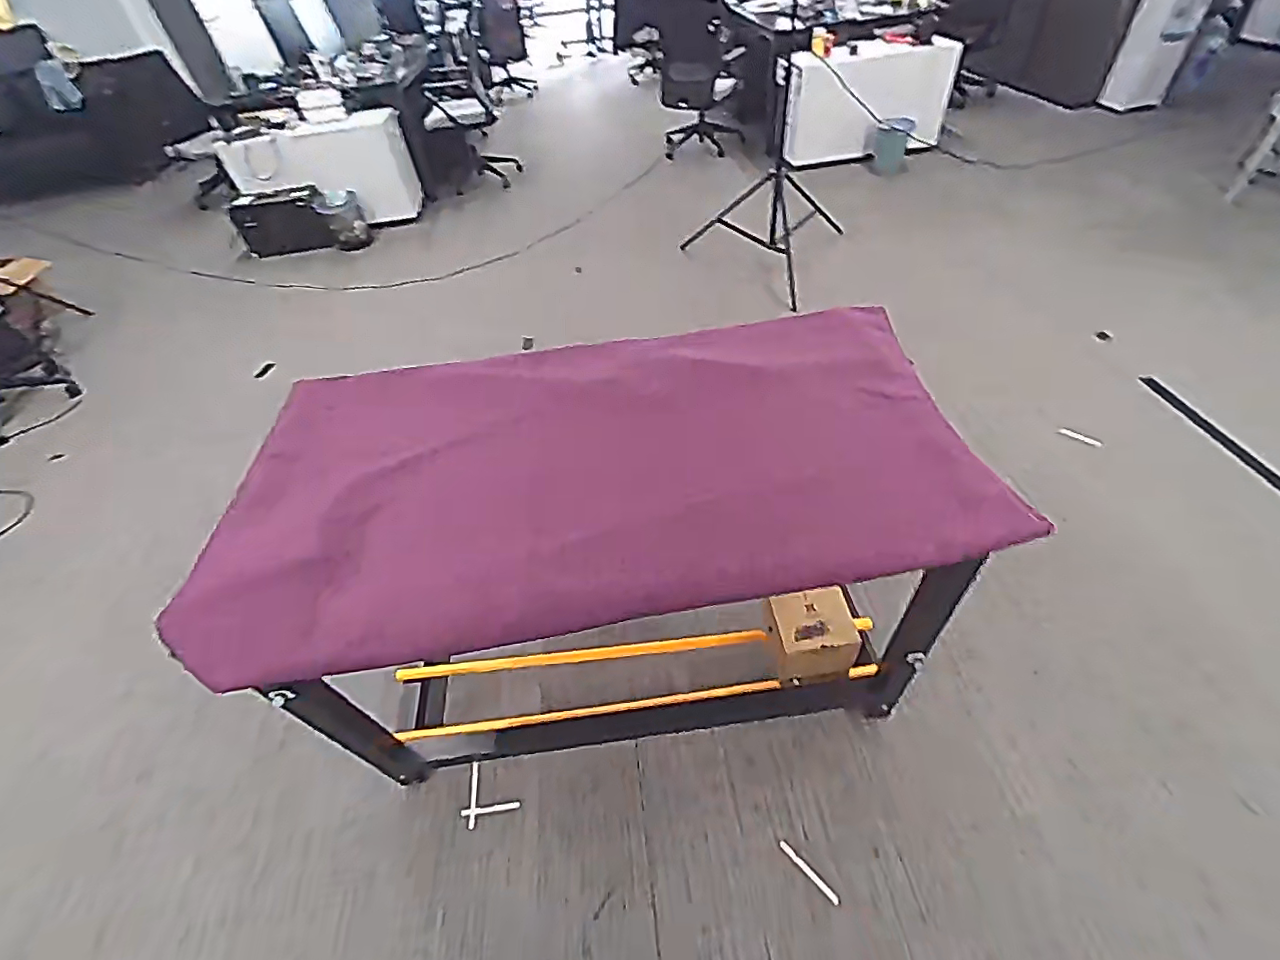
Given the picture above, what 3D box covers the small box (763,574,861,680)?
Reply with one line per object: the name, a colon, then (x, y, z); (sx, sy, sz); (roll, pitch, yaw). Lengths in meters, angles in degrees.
small box: (0.385, 0.343, 1.243); (0.168, 0.176, 0.179); (-8, 46, 1)
